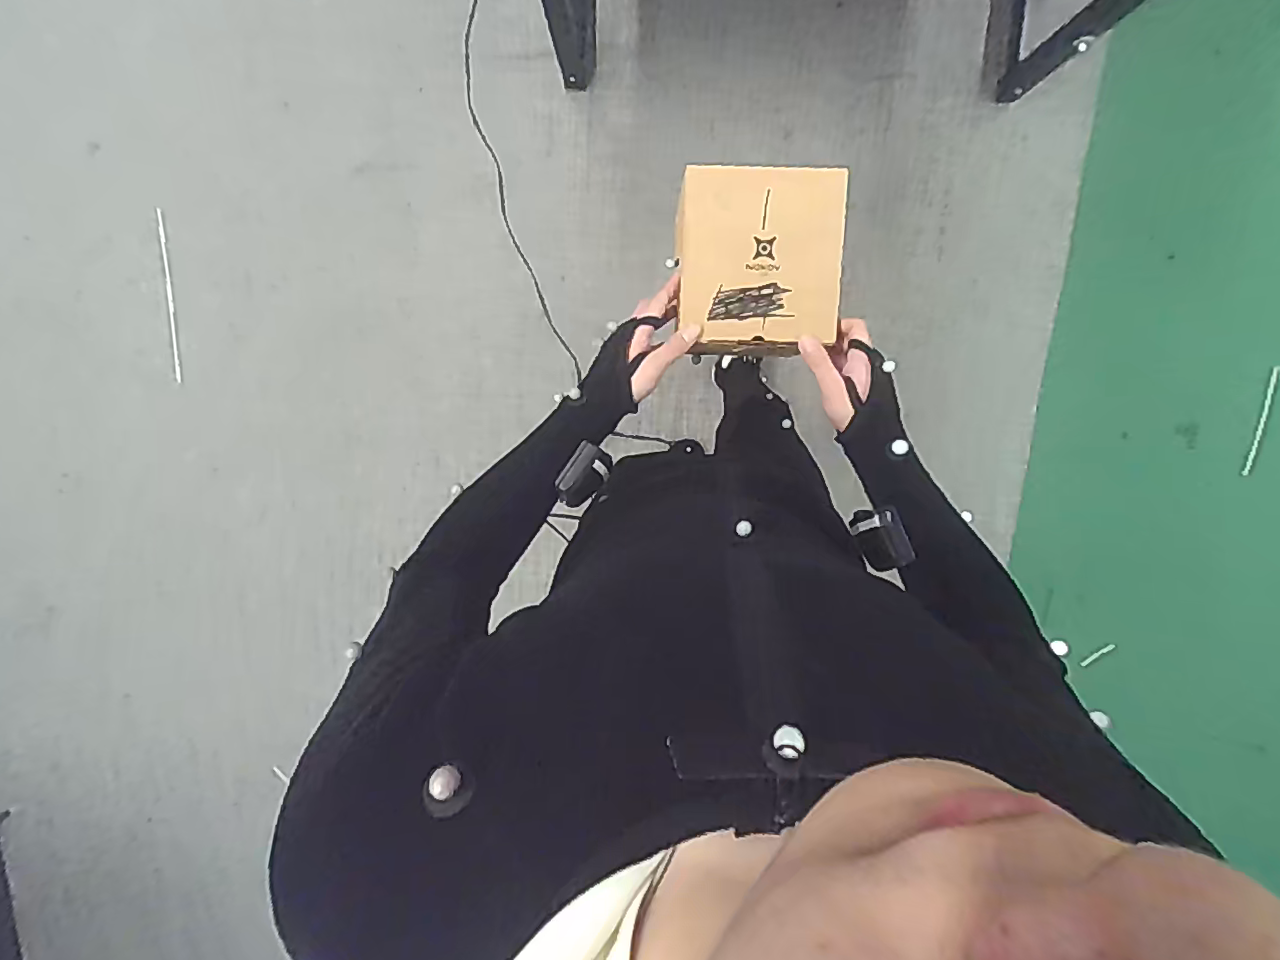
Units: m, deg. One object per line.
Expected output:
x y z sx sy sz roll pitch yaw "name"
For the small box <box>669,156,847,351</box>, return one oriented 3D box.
0.122 -0.245 0.627 0.168 0.176 0.179 1 98 0 "small box"
